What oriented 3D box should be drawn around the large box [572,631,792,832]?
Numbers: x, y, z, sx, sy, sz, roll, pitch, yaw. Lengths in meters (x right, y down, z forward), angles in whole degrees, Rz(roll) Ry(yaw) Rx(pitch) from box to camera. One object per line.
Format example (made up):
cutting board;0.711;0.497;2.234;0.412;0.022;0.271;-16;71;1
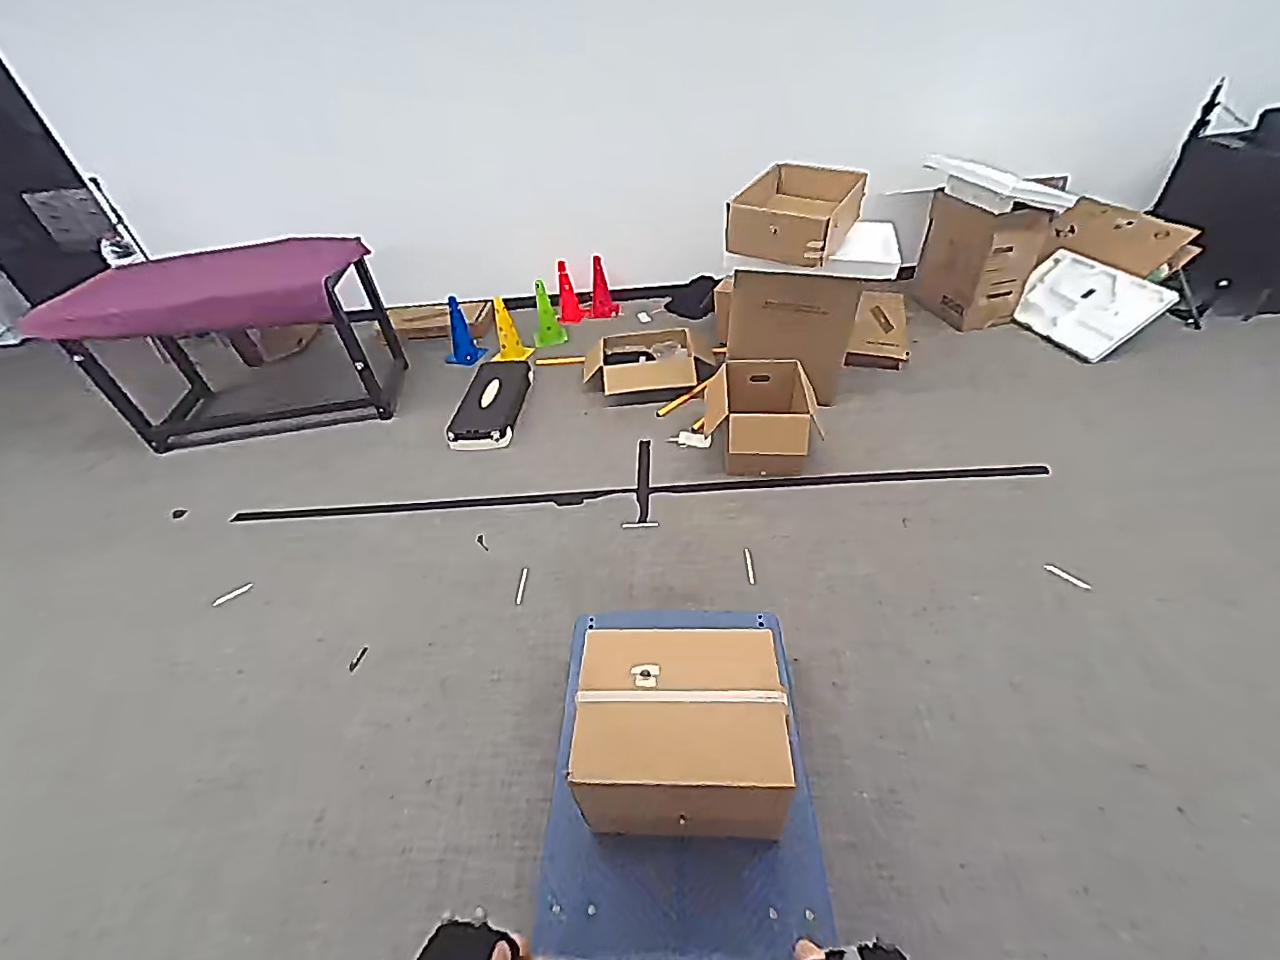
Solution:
large box;0.091;0.551;1.178;0.408;0.320;0.320;-3;41;5
